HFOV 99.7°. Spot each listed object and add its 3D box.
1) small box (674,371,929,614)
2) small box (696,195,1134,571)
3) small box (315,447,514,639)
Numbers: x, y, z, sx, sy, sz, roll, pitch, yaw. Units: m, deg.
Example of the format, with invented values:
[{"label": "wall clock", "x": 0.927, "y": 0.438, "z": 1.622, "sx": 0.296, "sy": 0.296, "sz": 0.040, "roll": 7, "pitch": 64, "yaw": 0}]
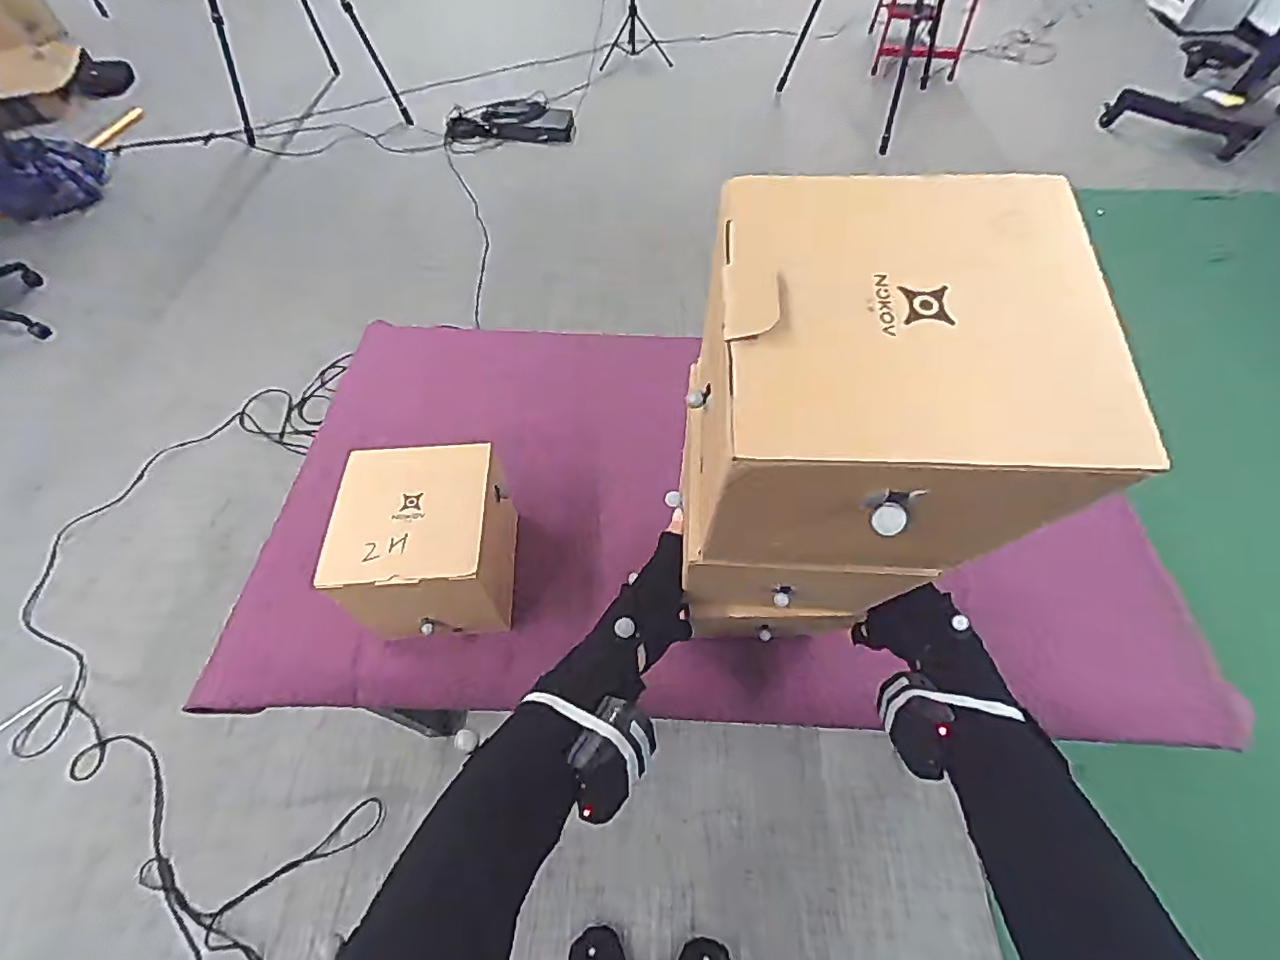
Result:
[{"label": "small box", "x": 0.123, "y": 0.021, "z": 0.482, "sx": 0.179, "sy": 0.176, "sz": 0.168, "roll": 3, "pitch": 67, "yaw": 4}, {"label": "small box", "x": 0.129, "y": -0.043, "z": 0.334, "sx": 0.179, "sy": 0.176, "sz": 0.168, "roll": 2, "pitch": 68, "yaw": 3}, {"label": "small box", "x": -0.253, "y": 0.080, "z": 0.660, "sx": 0.168, "sy": 0.176, "sz": 0.179, "roll": -3, "pitch": 56, "yaw": -2}]
